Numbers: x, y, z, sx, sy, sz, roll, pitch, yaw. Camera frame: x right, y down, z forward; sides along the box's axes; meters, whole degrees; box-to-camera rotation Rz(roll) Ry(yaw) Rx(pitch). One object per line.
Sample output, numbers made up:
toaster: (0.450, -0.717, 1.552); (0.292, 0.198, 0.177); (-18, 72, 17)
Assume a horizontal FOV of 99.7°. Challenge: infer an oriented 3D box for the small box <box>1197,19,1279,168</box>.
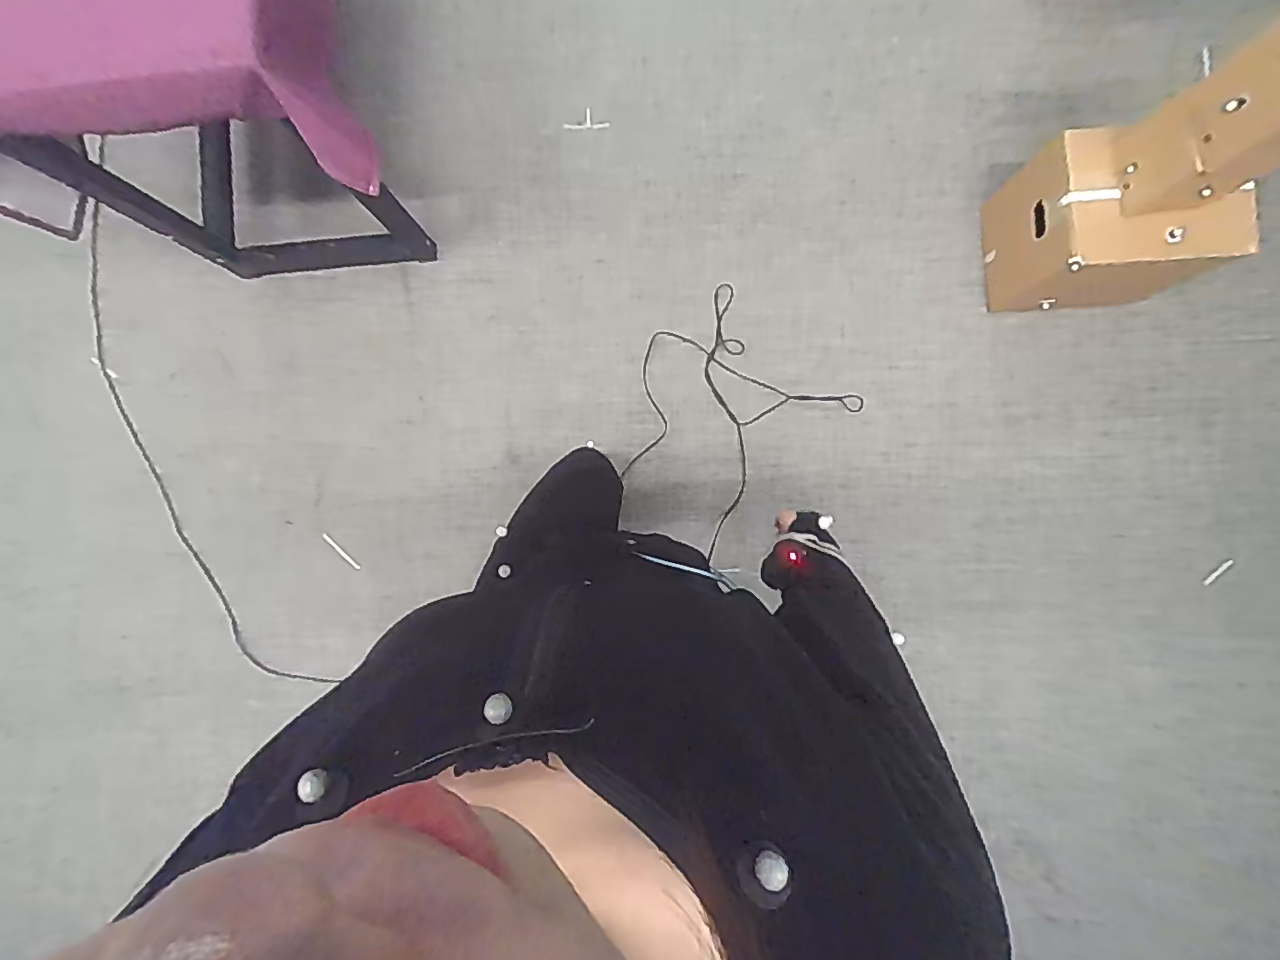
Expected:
small box: (1.140, -0.681, 0.945); (0.179, 0.176, 0.168); (-11, 87, 2)
